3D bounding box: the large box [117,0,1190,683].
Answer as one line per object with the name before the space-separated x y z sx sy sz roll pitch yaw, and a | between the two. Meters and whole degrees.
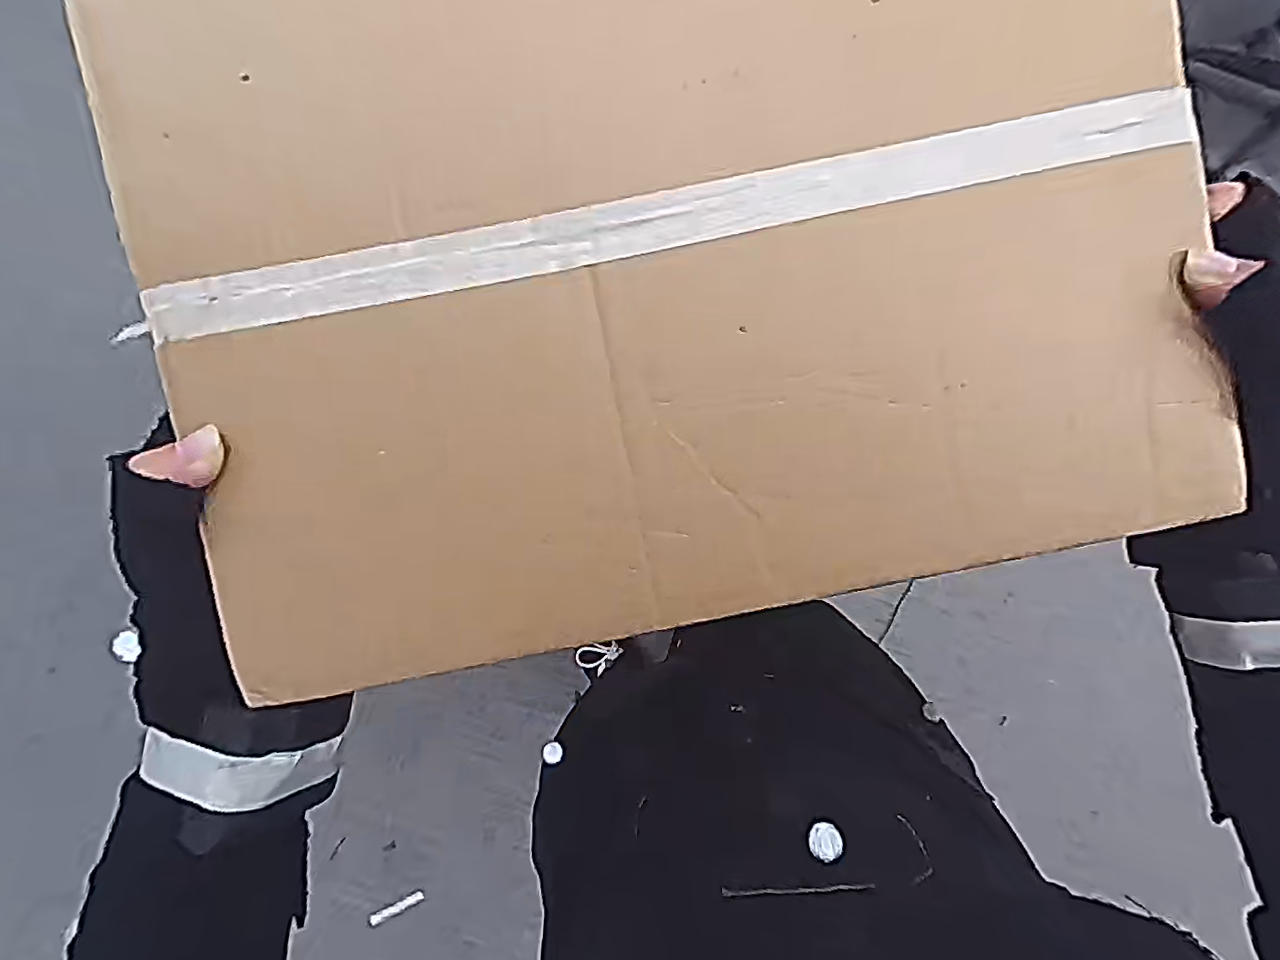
large box | 0.014 -0.111 0.369 0.408 0.320 0.320 -11 93 0
